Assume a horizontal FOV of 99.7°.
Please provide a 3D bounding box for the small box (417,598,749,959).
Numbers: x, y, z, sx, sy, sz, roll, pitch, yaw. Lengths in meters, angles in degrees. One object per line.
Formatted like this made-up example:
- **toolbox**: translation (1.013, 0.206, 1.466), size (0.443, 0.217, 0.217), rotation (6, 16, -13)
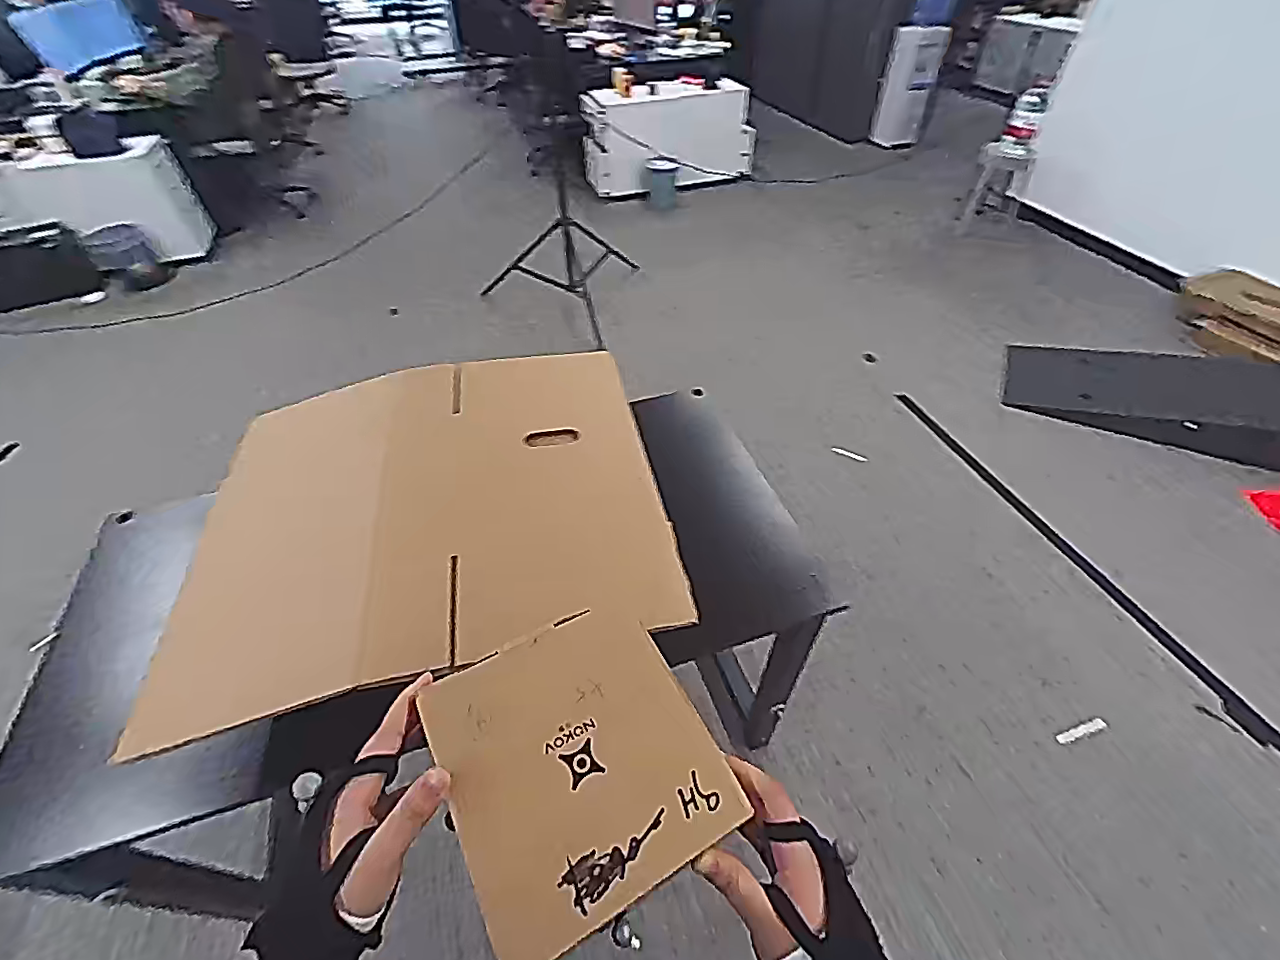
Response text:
- **small box**: translation (-0.049, 0.229, 0.412), size (0.168, 0.176, 0.179), rotation (-22, 55, -22)
